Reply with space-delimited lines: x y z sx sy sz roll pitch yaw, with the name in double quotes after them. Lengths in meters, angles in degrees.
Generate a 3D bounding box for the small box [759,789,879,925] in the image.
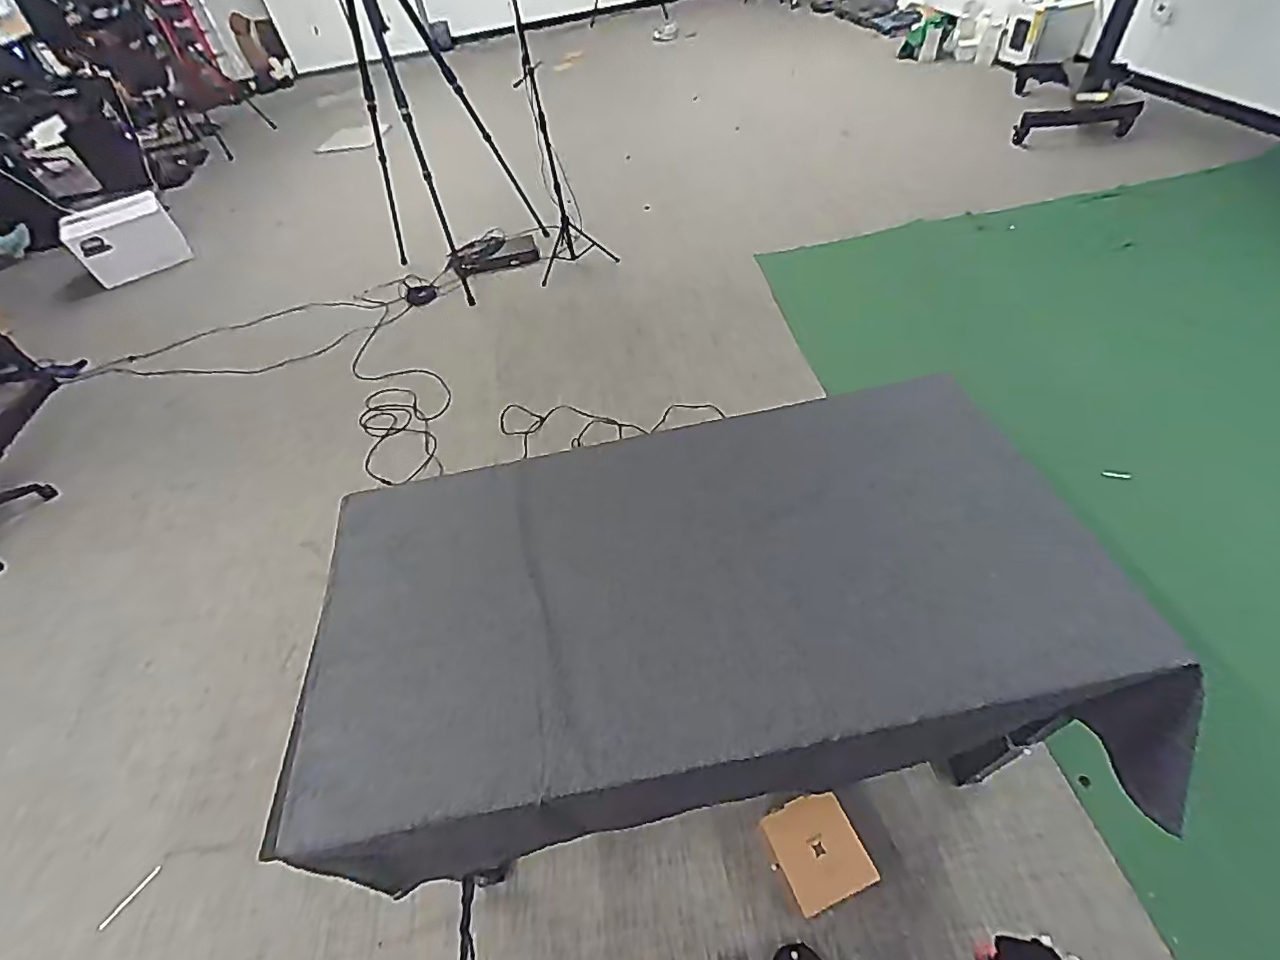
0.358 0.785 1.123 0.168 0.176 0.179 -21 49 -9 "small box"

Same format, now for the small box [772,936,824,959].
0.305 0.993 0.961 0.168 0.176 0.179 -2 18 45 "small box"
